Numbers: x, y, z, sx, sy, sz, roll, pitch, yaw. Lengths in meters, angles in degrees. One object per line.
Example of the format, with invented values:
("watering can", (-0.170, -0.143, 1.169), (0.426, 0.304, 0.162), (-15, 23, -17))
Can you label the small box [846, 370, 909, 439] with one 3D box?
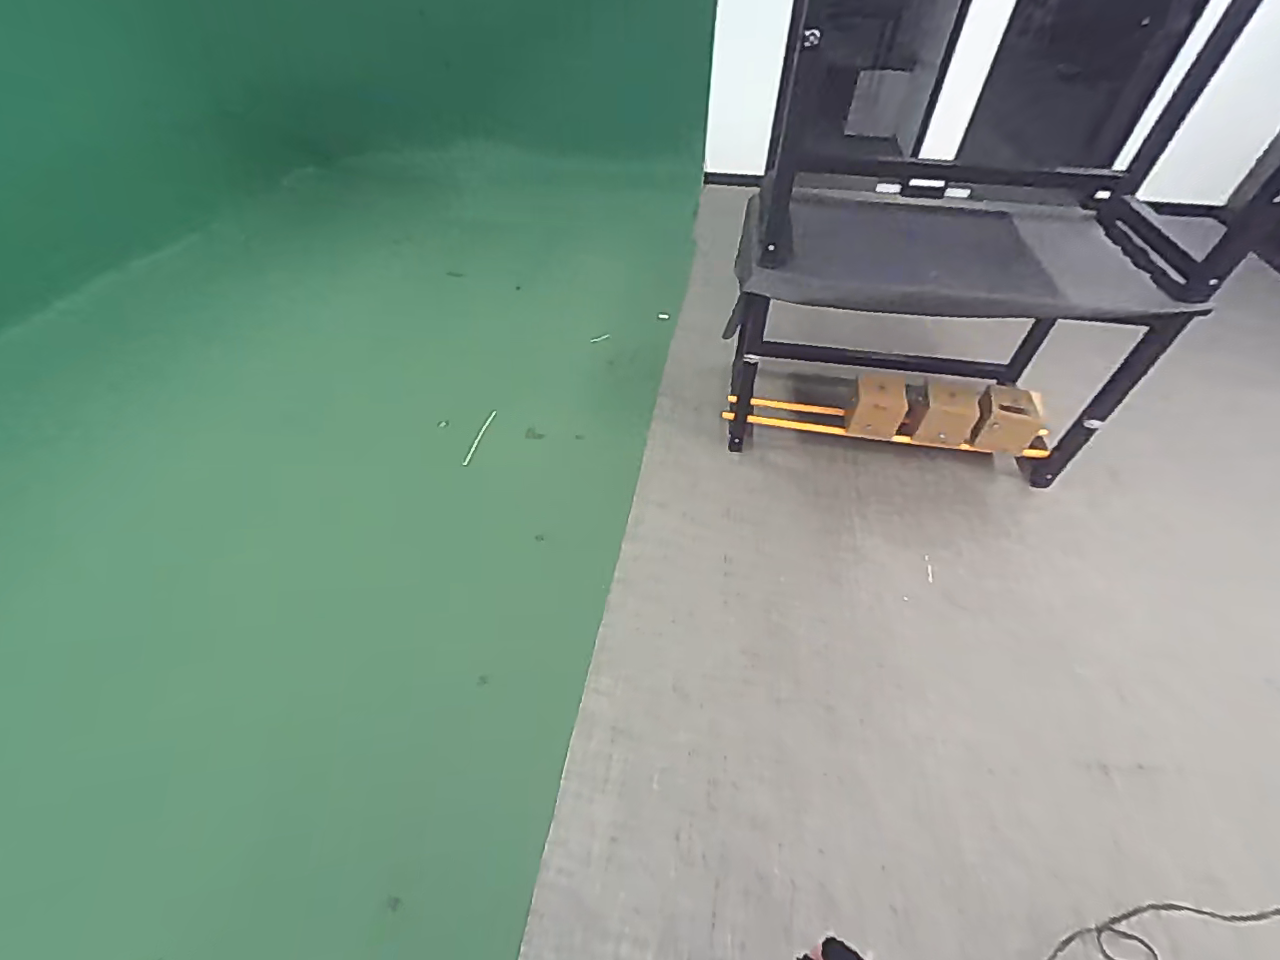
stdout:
("small box", (0.867, -0.278, 1.994), (0.168, 0.176, 0.179), (9, 51, 7))
